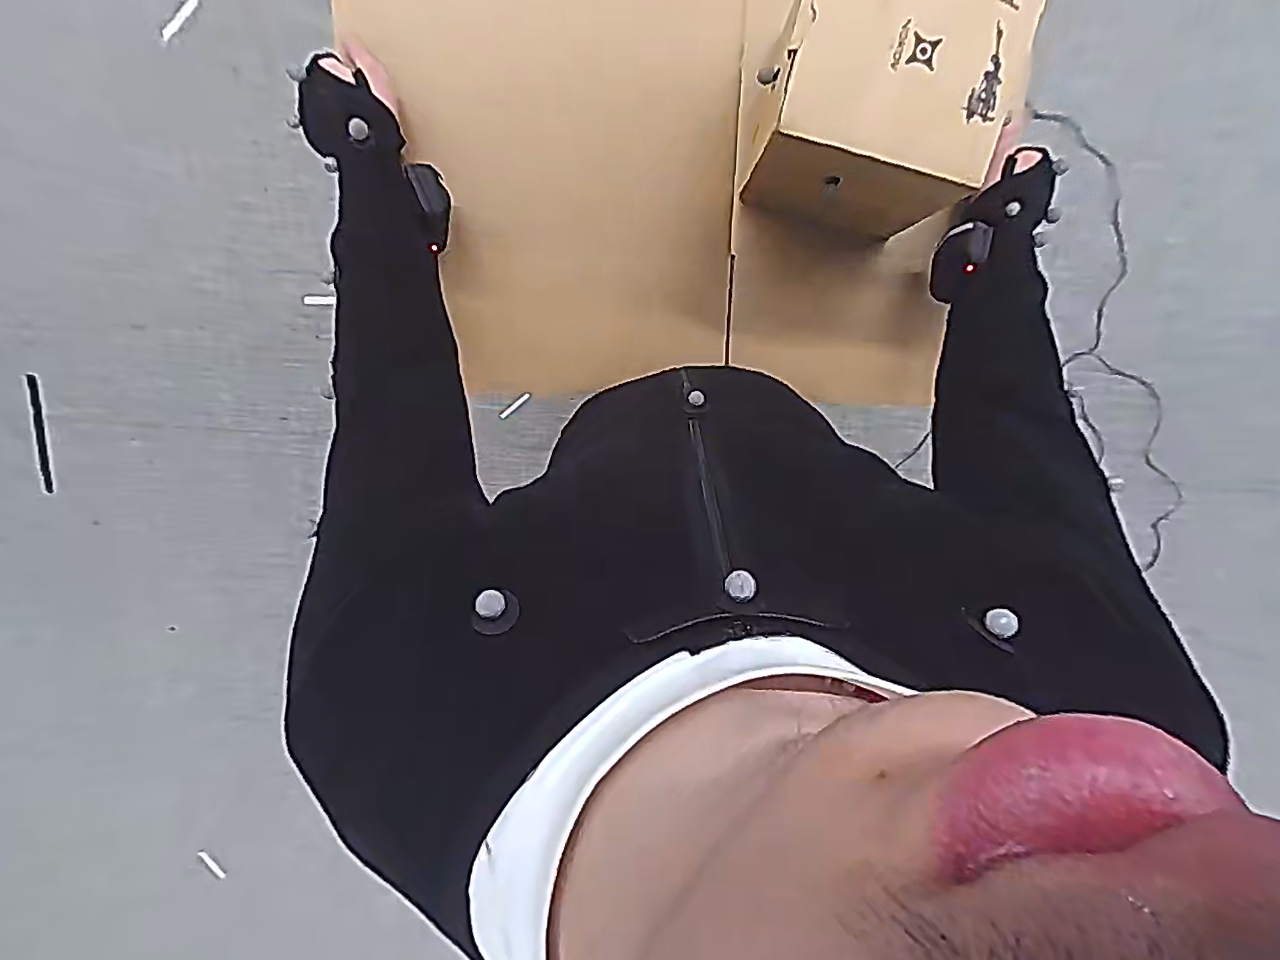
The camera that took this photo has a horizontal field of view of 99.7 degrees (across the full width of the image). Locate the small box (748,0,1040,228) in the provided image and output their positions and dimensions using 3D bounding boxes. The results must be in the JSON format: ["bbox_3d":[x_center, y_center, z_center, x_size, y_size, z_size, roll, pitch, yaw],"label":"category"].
[{"bbox_3d":[0.213,-0.354,0.500,0.179,0.176,0.168,14,101,-2],"label":"small box"}]
